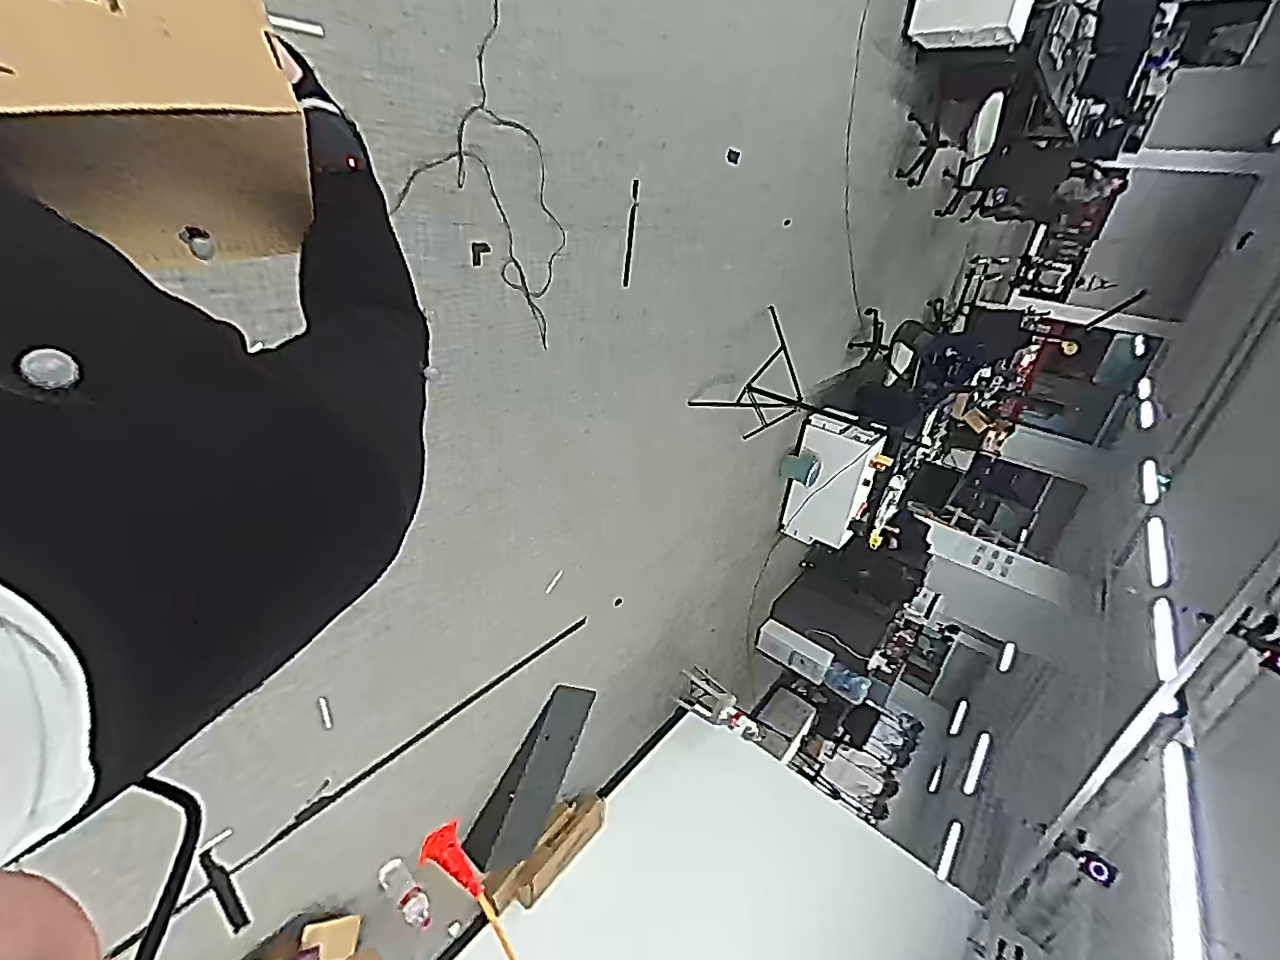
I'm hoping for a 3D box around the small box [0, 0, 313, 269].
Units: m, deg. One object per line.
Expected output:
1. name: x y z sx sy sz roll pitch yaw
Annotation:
1. small box: -0.369 -0.283 0.403 0.179 0.176 0.168 -24 90 -31
